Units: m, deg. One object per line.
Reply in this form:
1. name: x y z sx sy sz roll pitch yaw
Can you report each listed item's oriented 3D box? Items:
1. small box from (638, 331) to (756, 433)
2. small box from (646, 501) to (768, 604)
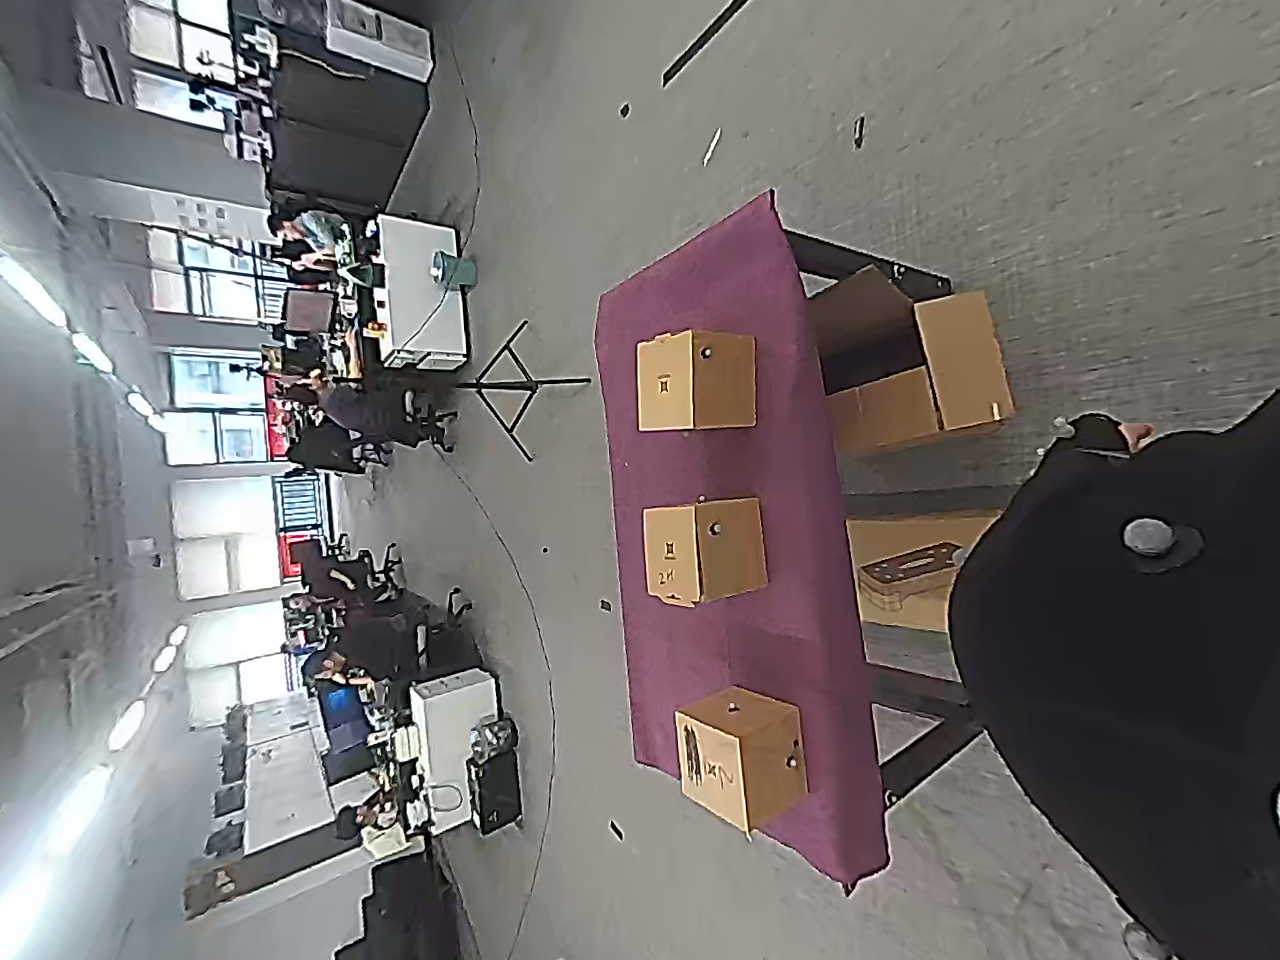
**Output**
1. small box: 0.113 -0.184 1.056 0.168 0.176 0.179 4 97 54
2. small box: 0.132 0.133 1.067 0.168 0.176 0.179 -8 87 57
